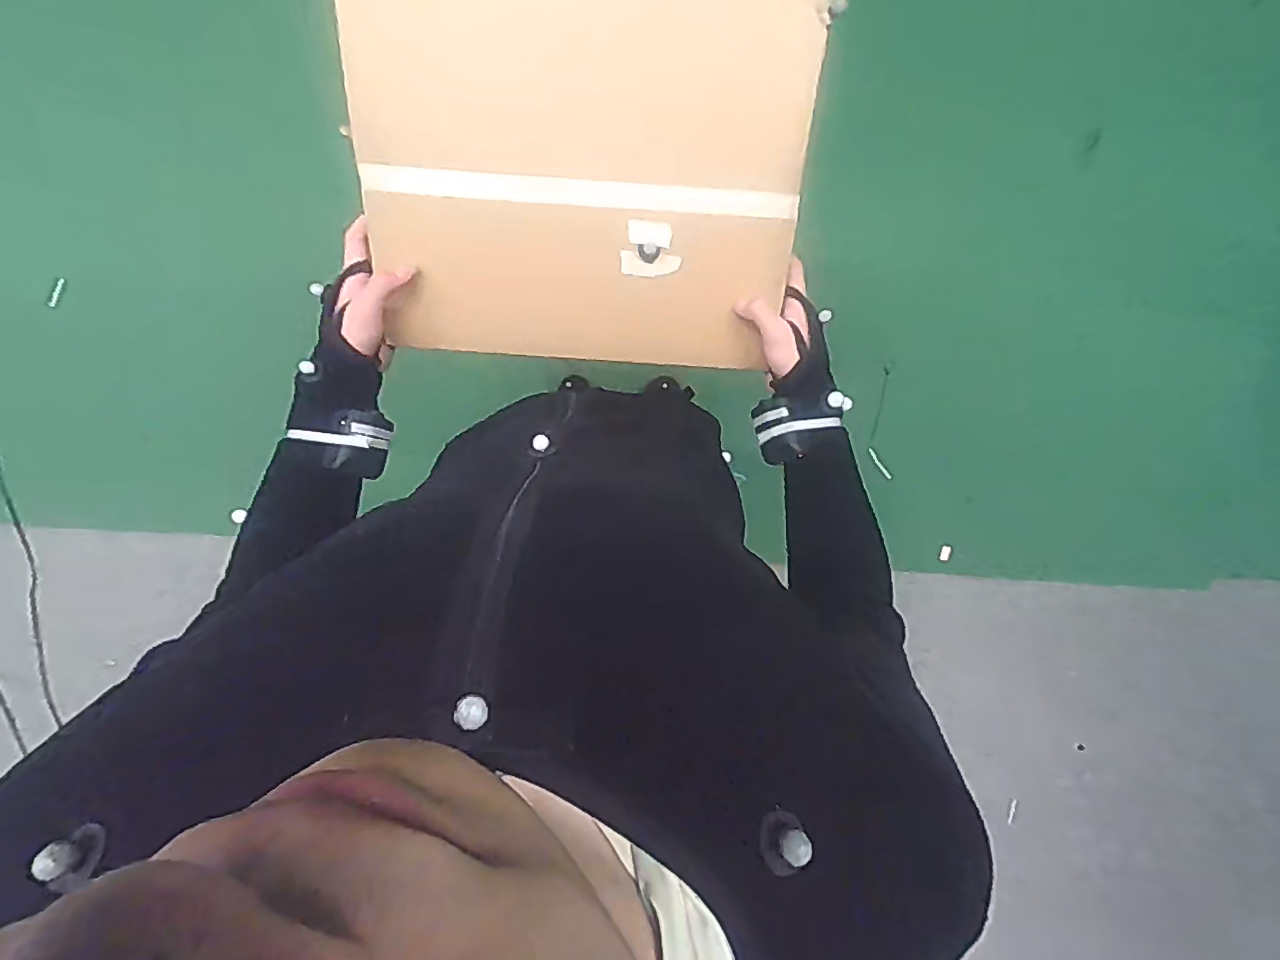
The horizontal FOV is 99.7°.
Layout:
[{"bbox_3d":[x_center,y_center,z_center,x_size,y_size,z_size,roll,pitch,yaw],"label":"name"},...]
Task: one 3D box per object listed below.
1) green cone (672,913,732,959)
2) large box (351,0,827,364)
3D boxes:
[{"bbox_3d":[0.237,1.731,1.839,0.200,0.368,0.202,9,100,-4],"label":"green cone"},{"bbox_3d":[-0.051,-0.333,0.645,0.408,0.320,0.320,2,117,-2],"label":"large box"}]
